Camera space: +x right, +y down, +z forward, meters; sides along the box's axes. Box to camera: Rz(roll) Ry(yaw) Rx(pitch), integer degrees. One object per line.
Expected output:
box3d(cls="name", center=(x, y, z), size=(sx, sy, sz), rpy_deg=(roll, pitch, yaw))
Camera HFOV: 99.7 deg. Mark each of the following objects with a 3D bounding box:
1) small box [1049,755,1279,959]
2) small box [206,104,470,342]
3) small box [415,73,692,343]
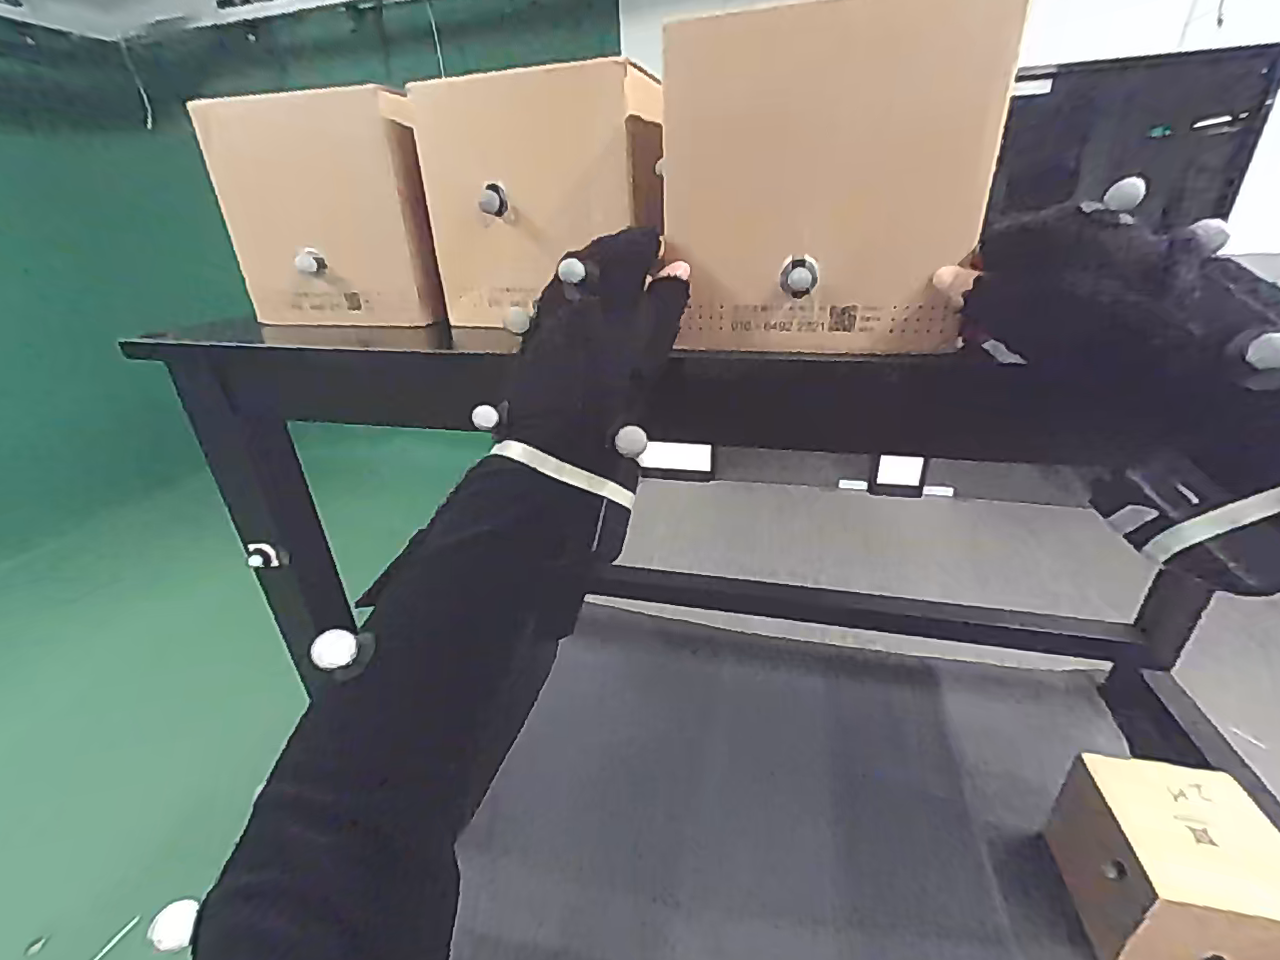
box3d(cls="small box", center=(0.634, 0.471, 0.645), size=(0.168, 0.176, 0.179), rpy_deg=(4, 26, 12))
box3d(cls="small box", center=(-0.236, -0.234, 0.506), size=(0.168, 0.176, 0.179), rpy_deg=(4, 28, 12))
box3d(cls="small box", center=(-0.052, -0.217, 0.461), size=(0.168, 0.176, 0.179), rpy_deg=(6, 27, 17))
